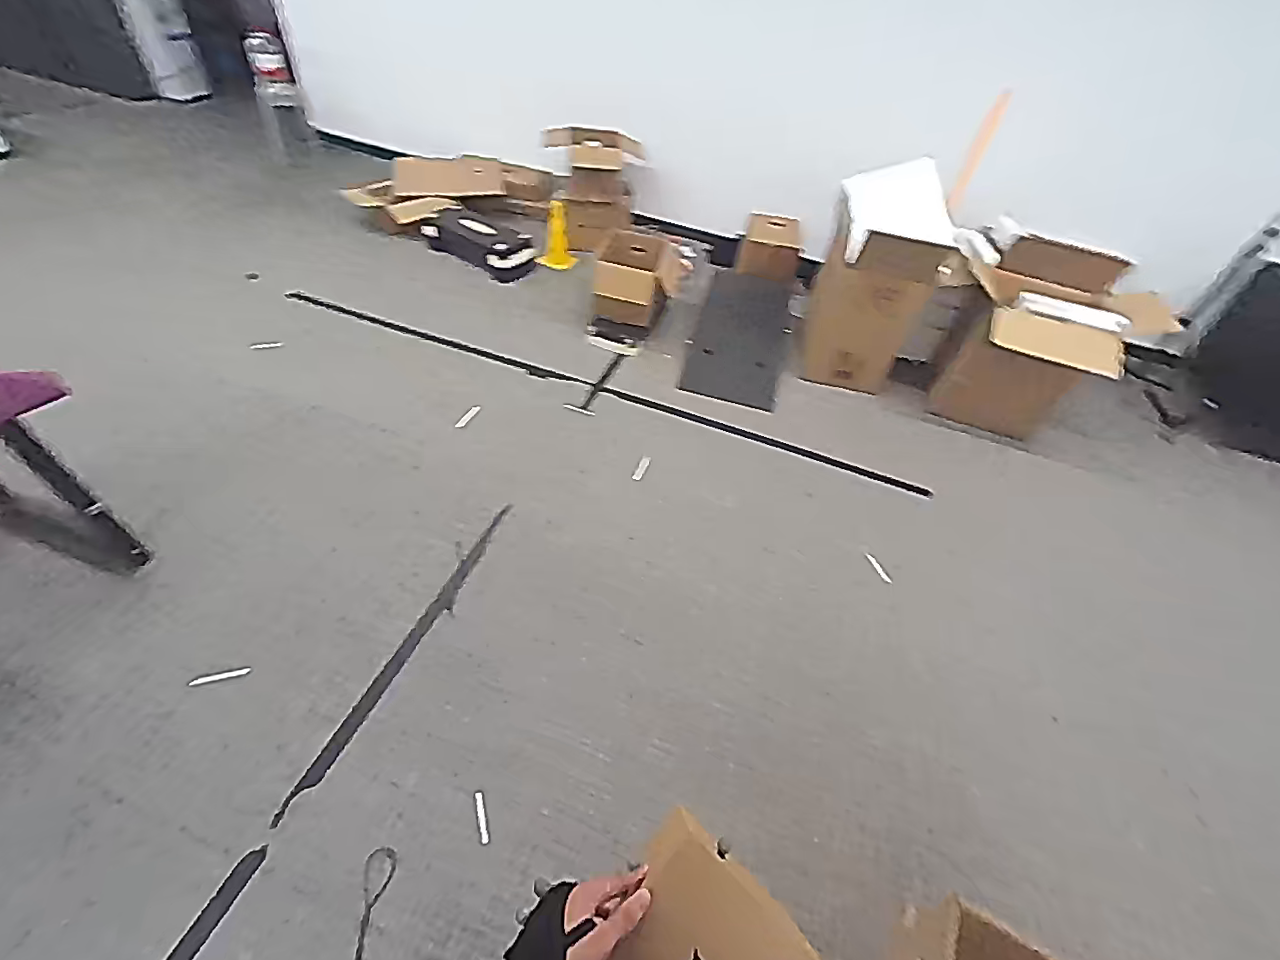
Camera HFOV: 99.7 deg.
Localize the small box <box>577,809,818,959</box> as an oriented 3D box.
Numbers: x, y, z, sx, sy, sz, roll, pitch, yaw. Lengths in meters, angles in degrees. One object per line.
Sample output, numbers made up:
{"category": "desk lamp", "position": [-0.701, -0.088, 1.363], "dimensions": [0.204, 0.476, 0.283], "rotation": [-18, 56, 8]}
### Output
{"category": "small box", "position": [0.054, 0.489, 0.580], "dimensions": [0.179, 0.176, 0.168], "rotation": [40, 73, 15]}
